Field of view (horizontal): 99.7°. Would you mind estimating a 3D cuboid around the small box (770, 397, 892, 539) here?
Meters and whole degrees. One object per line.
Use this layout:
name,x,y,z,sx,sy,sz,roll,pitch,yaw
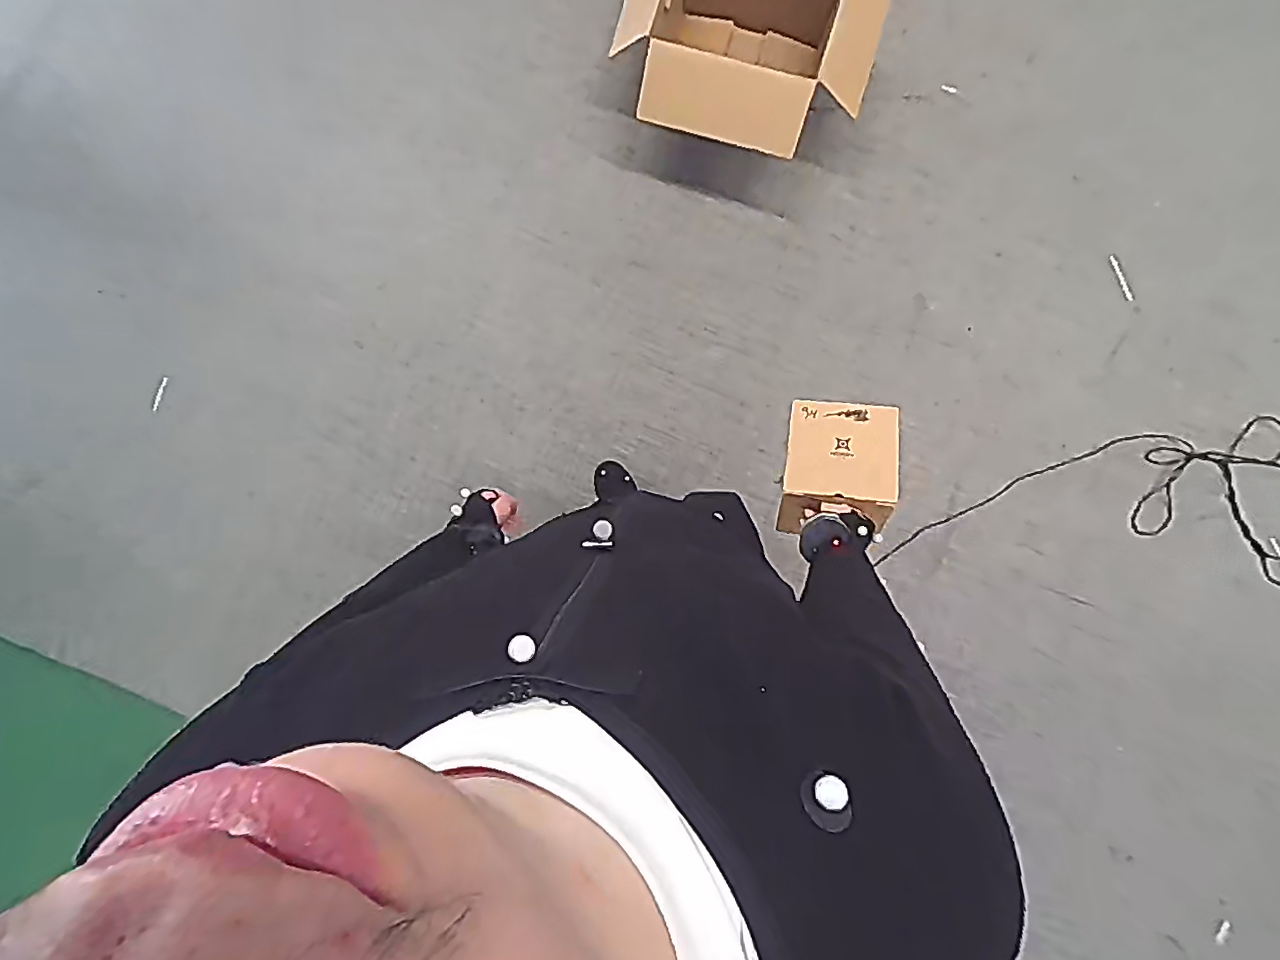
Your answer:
small box,0.314,-0.015,0.909,0.168,0.176,0.179,8,65,13
